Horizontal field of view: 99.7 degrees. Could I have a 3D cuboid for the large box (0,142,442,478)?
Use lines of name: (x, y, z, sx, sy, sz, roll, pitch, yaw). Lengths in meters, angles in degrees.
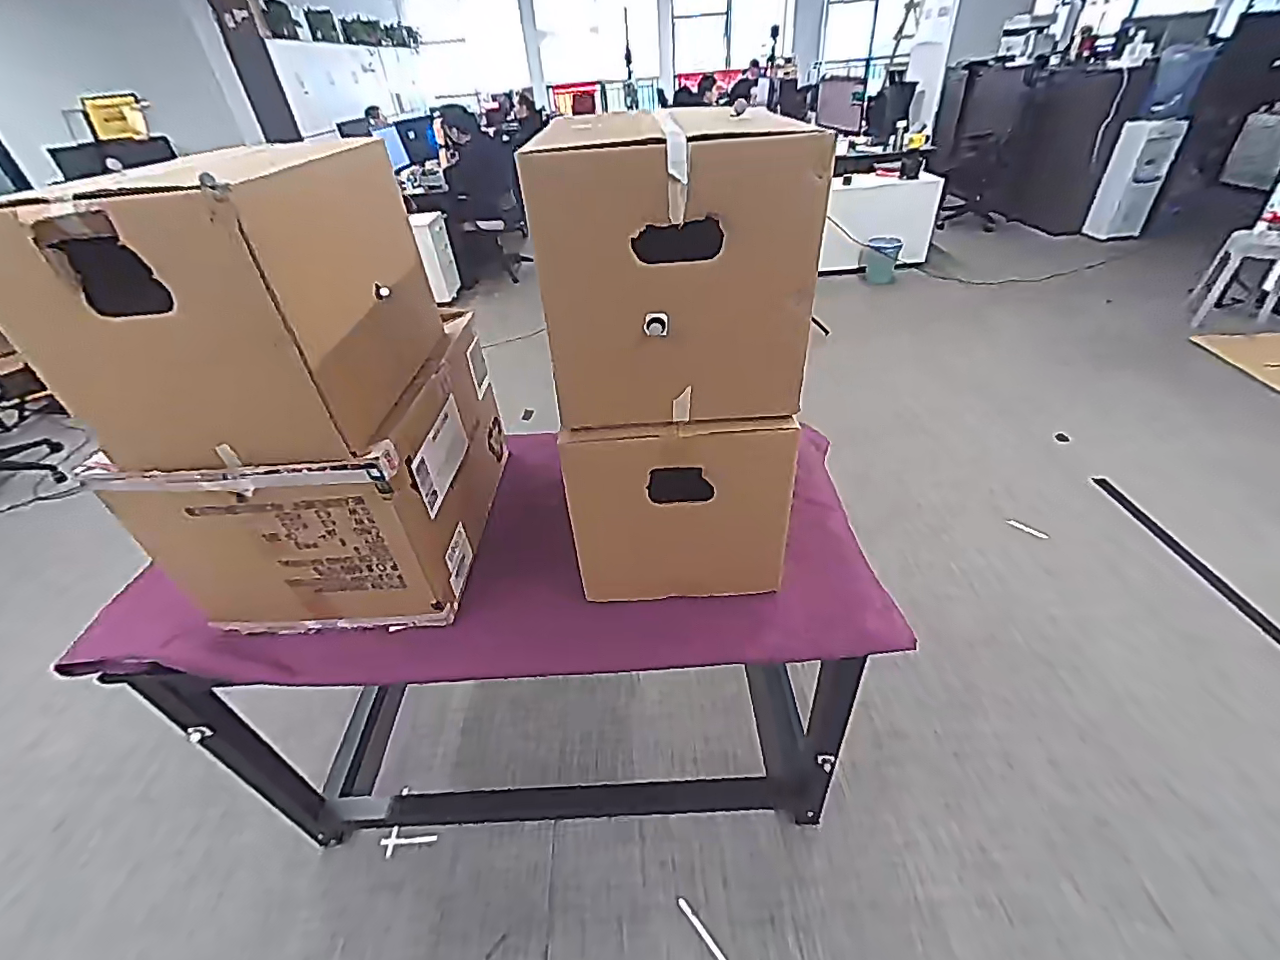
large box: (-0.509, -0.252, 0.746, 0.320, 0.320, 0.408, -6, 38, 2)
